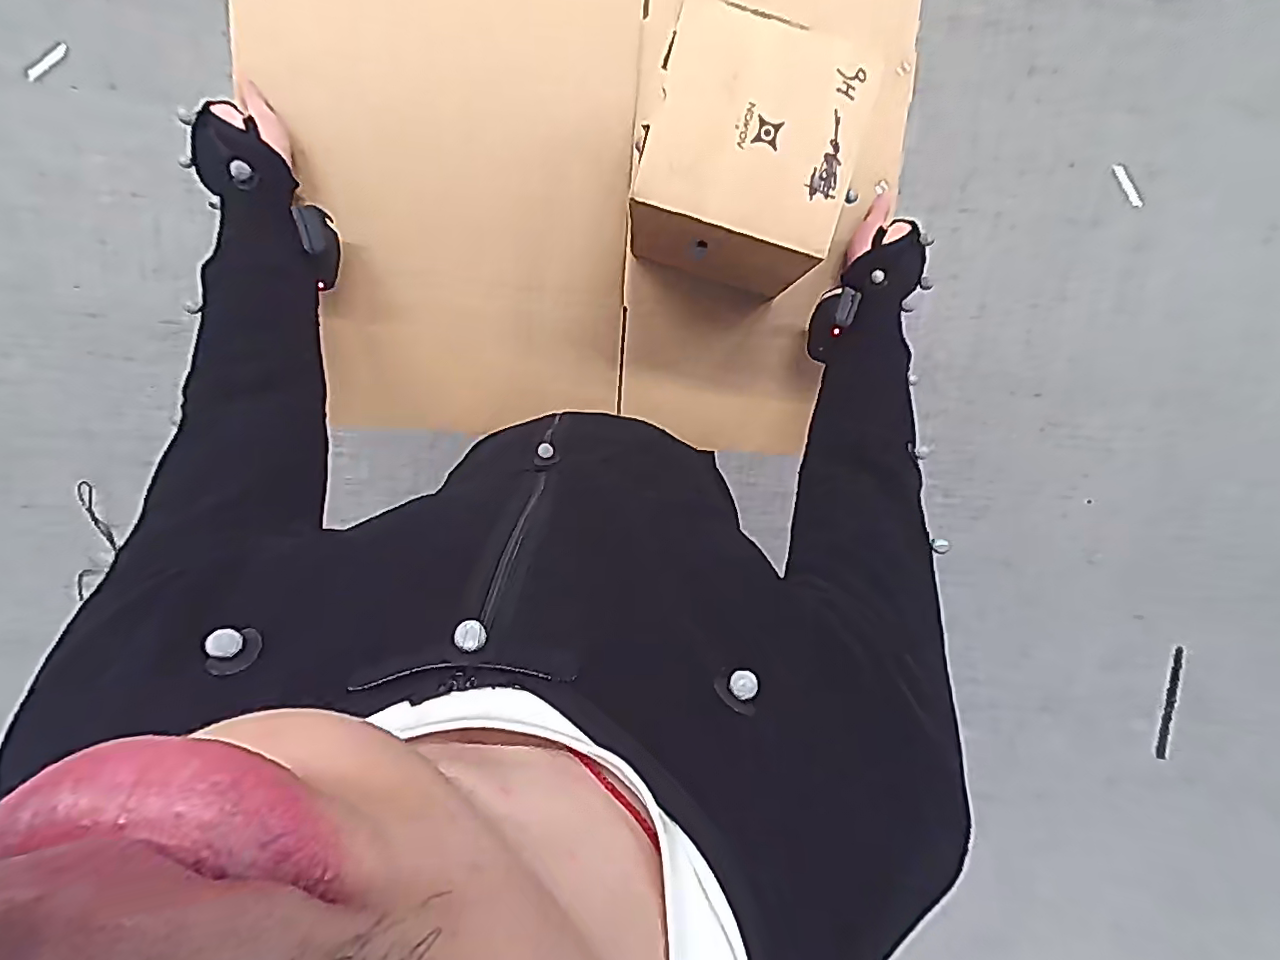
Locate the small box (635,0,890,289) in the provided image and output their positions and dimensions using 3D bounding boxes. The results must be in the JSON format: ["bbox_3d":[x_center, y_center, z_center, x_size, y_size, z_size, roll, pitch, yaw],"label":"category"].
[{"bbox_3d":[0.101,-0.303,0.530,0.179,0.176,0.168,16,98,-2],"label":"small box"}]
